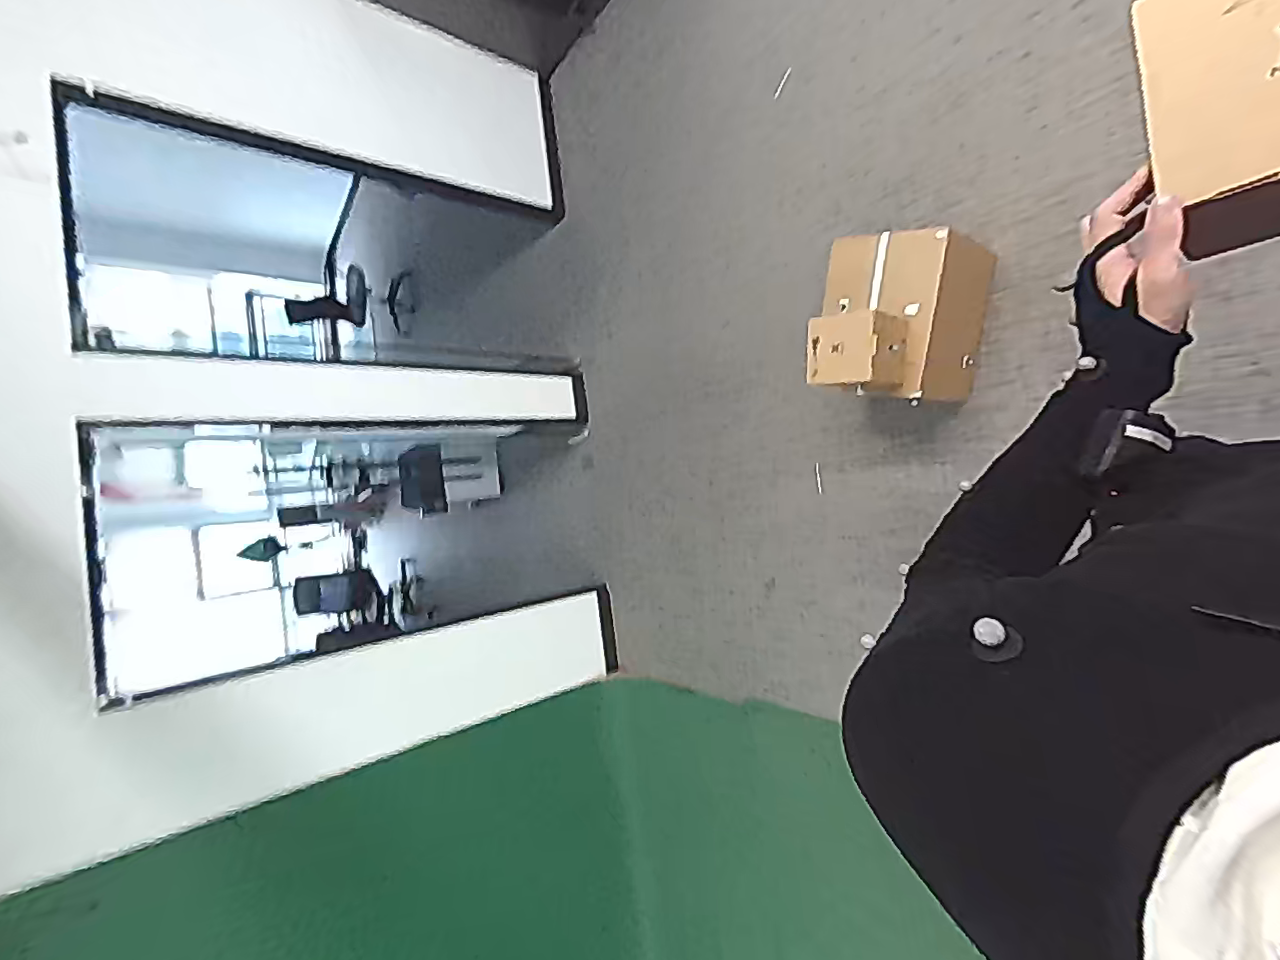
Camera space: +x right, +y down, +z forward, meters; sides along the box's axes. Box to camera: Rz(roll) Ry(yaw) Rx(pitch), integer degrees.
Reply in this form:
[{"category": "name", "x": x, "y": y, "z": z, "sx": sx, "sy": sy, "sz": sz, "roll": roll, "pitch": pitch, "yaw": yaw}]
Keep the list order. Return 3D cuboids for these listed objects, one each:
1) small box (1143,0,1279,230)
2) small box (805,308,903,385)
[{"category": "small box", "x": 0.509, "y": -0.310, "z": 0.405, "sx": 0.168, "sy": 0.176, "sz": 0.179, "roll": -6, "pitch": 88, "yaw": 51}, {"category": "small box", "x": 0.538, "y": -0.328, "z": 1.358, "sx": 0.179, "sy": 0.176, "sz": 0.168, "roll": 7, "pitch": 99, "yaw": 49}]
